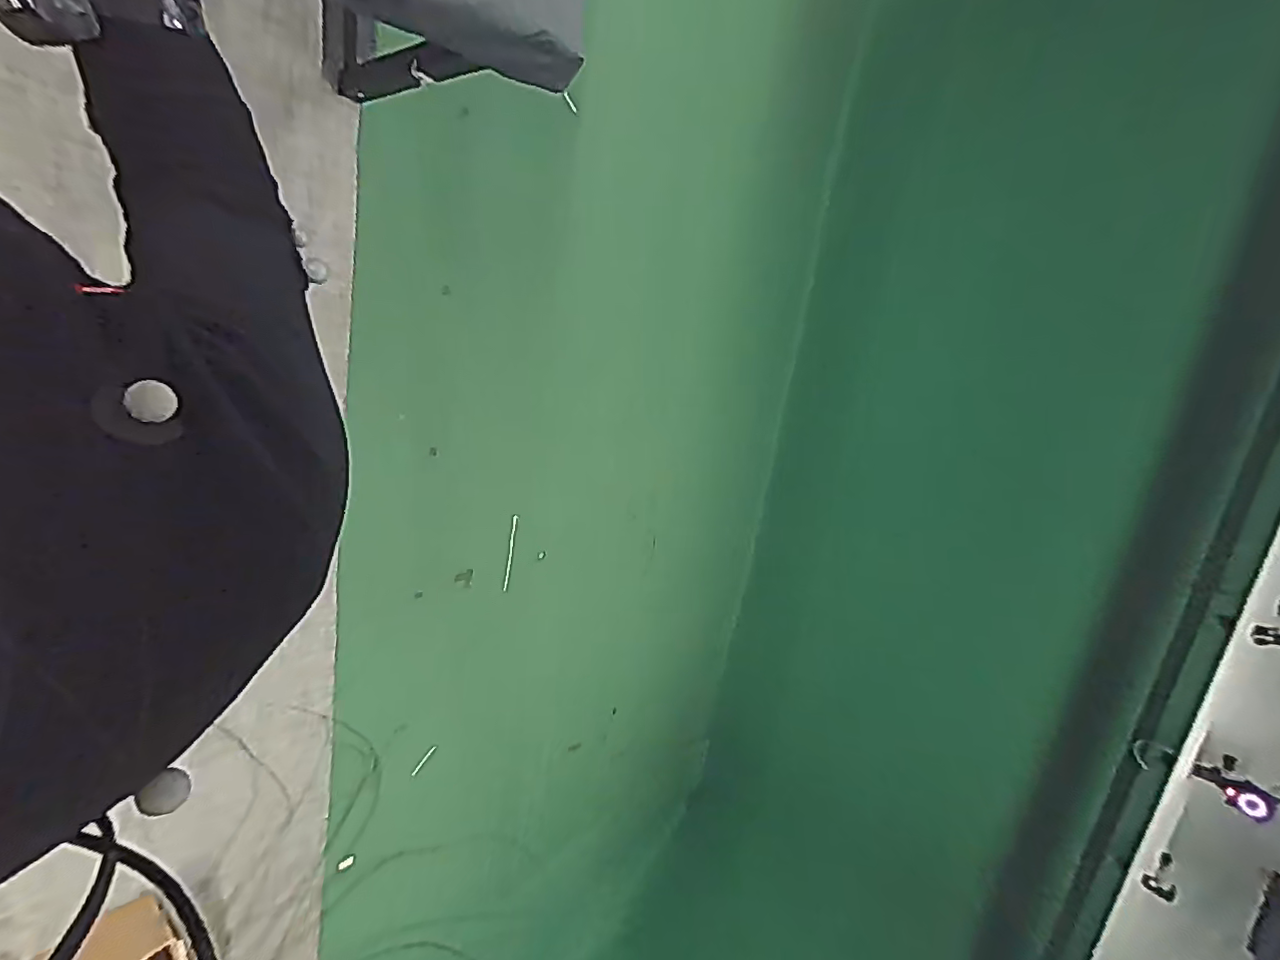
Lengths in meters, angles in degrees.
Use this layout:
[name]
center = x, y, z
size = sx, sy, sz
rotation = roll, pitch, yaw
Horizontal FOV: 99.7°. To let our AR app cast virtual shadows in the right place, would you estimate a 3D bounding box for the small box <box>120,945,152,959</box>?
[small box]
center = -1.252, 1.287, 1.285
size = 0.179, 0.176, 0.168
rotation = -21, 122, -49
